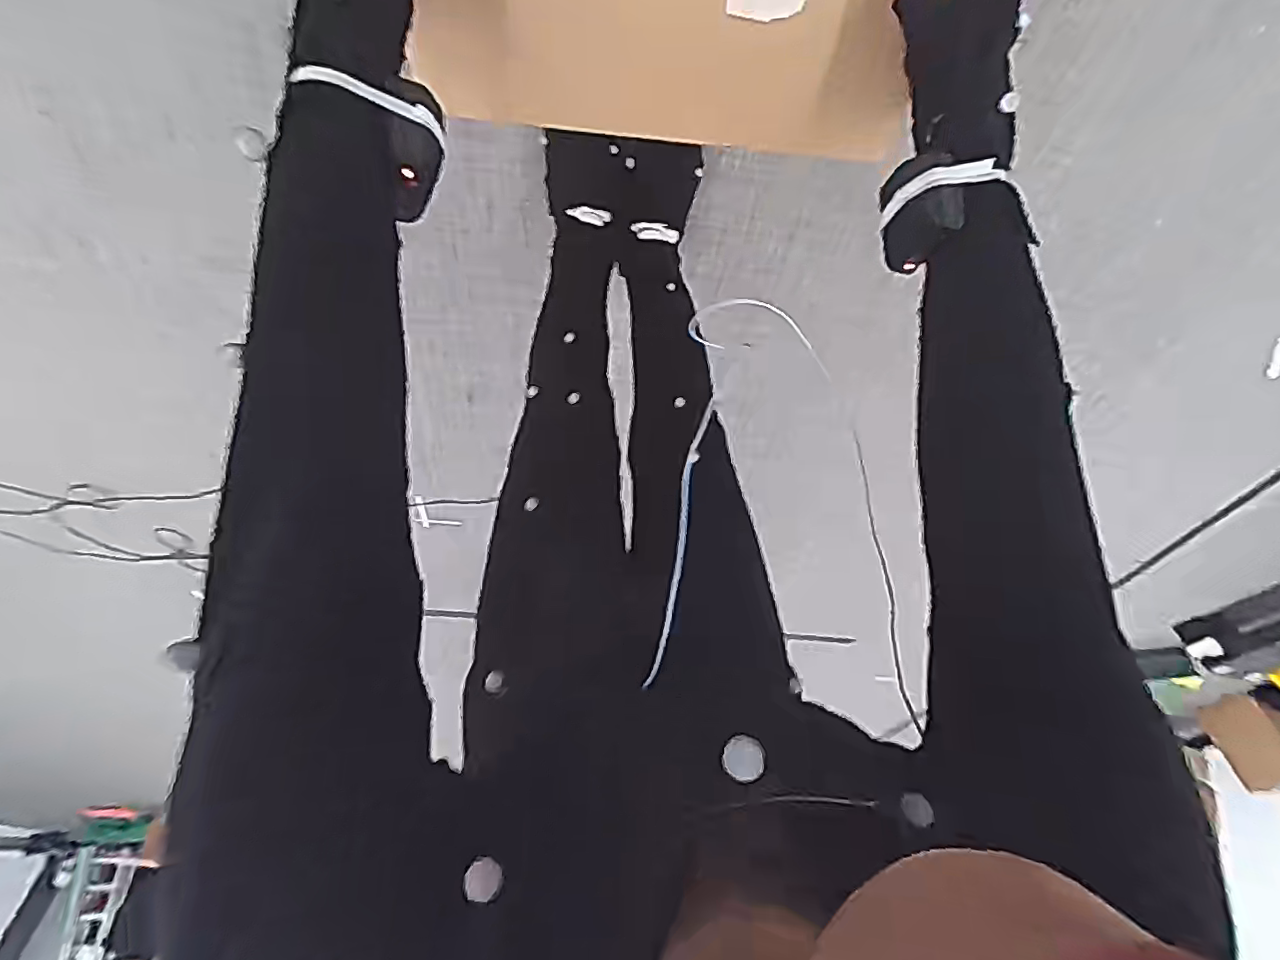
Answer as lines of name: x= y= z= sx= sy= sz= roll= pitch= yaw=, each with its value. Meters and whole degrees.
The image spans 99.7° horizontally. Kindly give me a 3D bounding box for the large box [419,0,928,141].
large box: x=0.029 y=-0.530 z=0.465 sx=0.408 sy=0.320 sz=0.320 roll=3 pitch=139 yaw=-5
